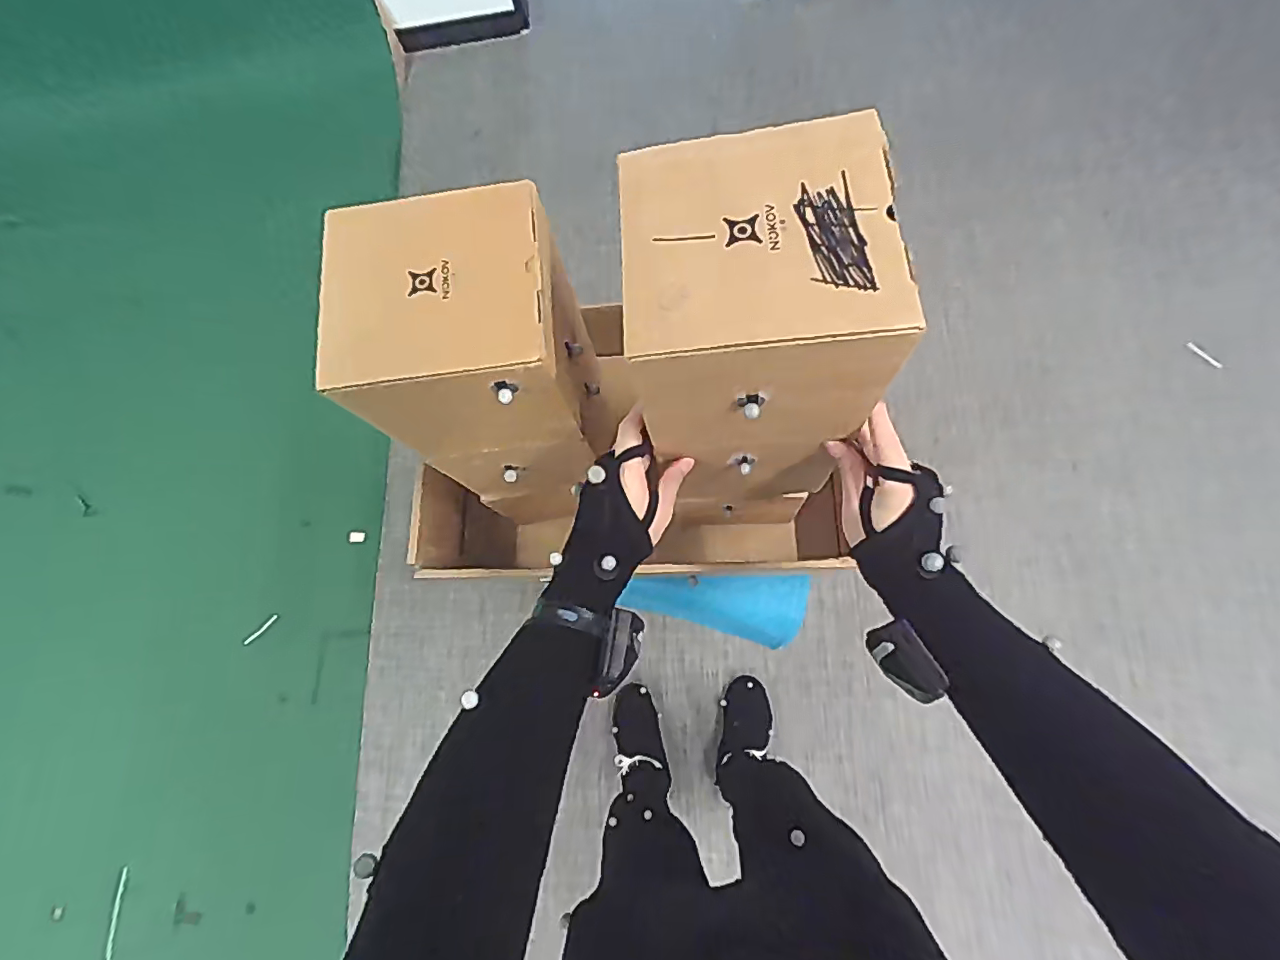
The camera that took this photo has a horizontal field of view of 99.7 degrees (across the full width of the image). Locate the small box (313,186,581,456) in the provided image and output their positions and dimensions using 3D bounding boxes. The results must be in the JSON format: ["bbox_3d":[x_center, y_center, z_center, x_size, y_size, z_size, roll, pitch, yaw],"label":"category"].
[{"bbox_3d":[-0.159,-0.129,0.496,0.179,0.176,0.168,-7,74,2],"label":"small box"}]

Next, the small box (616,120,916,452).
[{"bbox_3d":[0.082,-0.130,0.418,0.179,0.176,0.168,-5,72,8],"label":"small box"}]

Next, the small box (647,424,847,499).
[{"bbox_3d":[0.102,-0.081,0.573,0.179,0.176,0.168,-4,71,7],"label":"small box"}]

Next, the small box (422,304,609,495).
[{"bbox_3d":[-0.141,-0.085,0.653,0.179,0.176,0.168,-7,75,3],"label":"small box"}]
